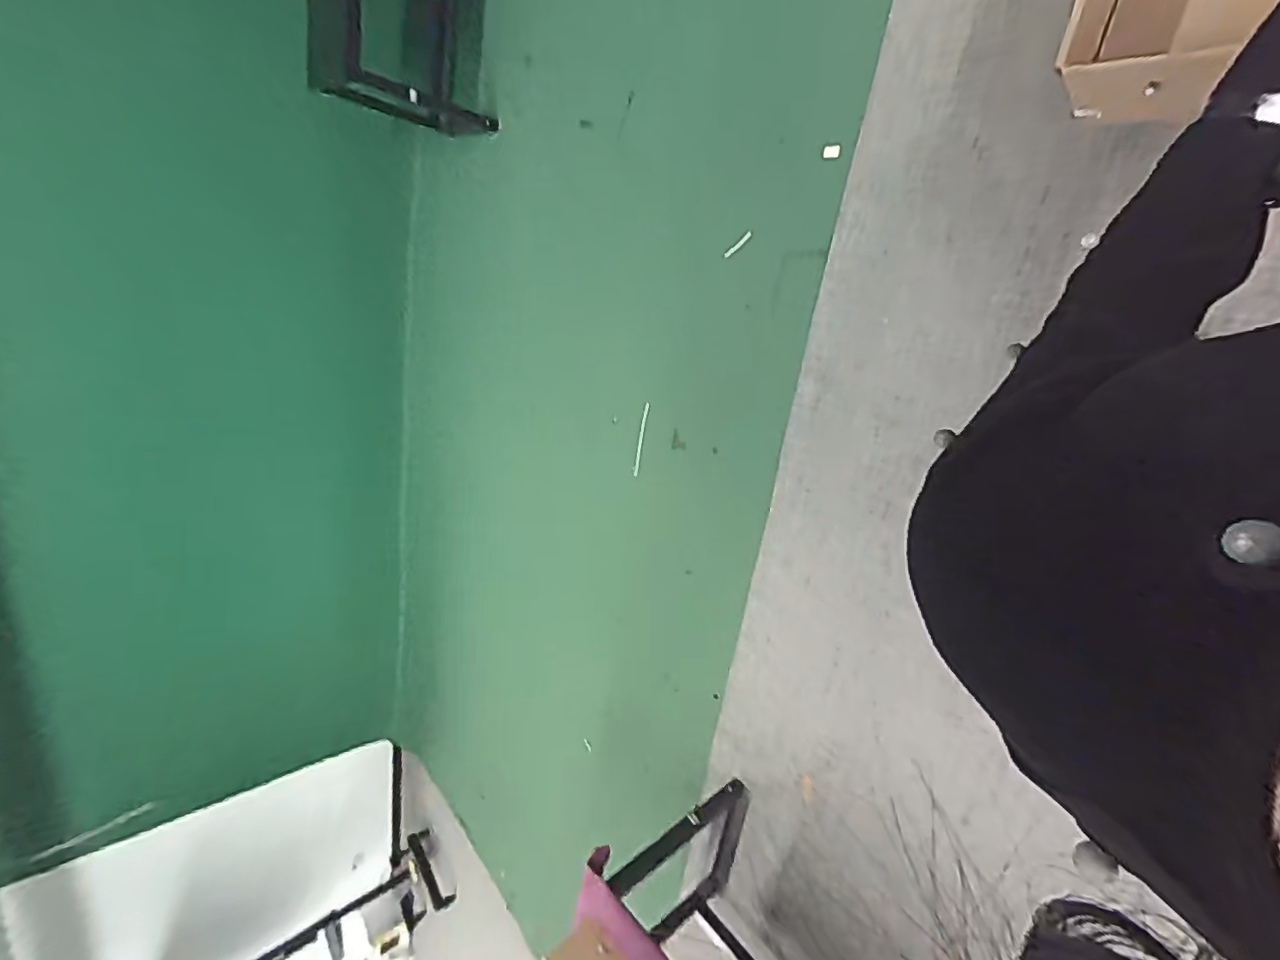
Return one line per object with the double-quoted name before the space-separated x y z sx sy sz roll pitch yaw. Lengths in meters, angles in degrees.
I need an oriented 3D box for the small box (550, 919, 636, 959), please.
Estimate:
"small box" -0.125 1.313 1.421 0.179 0.176 0.168 22 111 43
